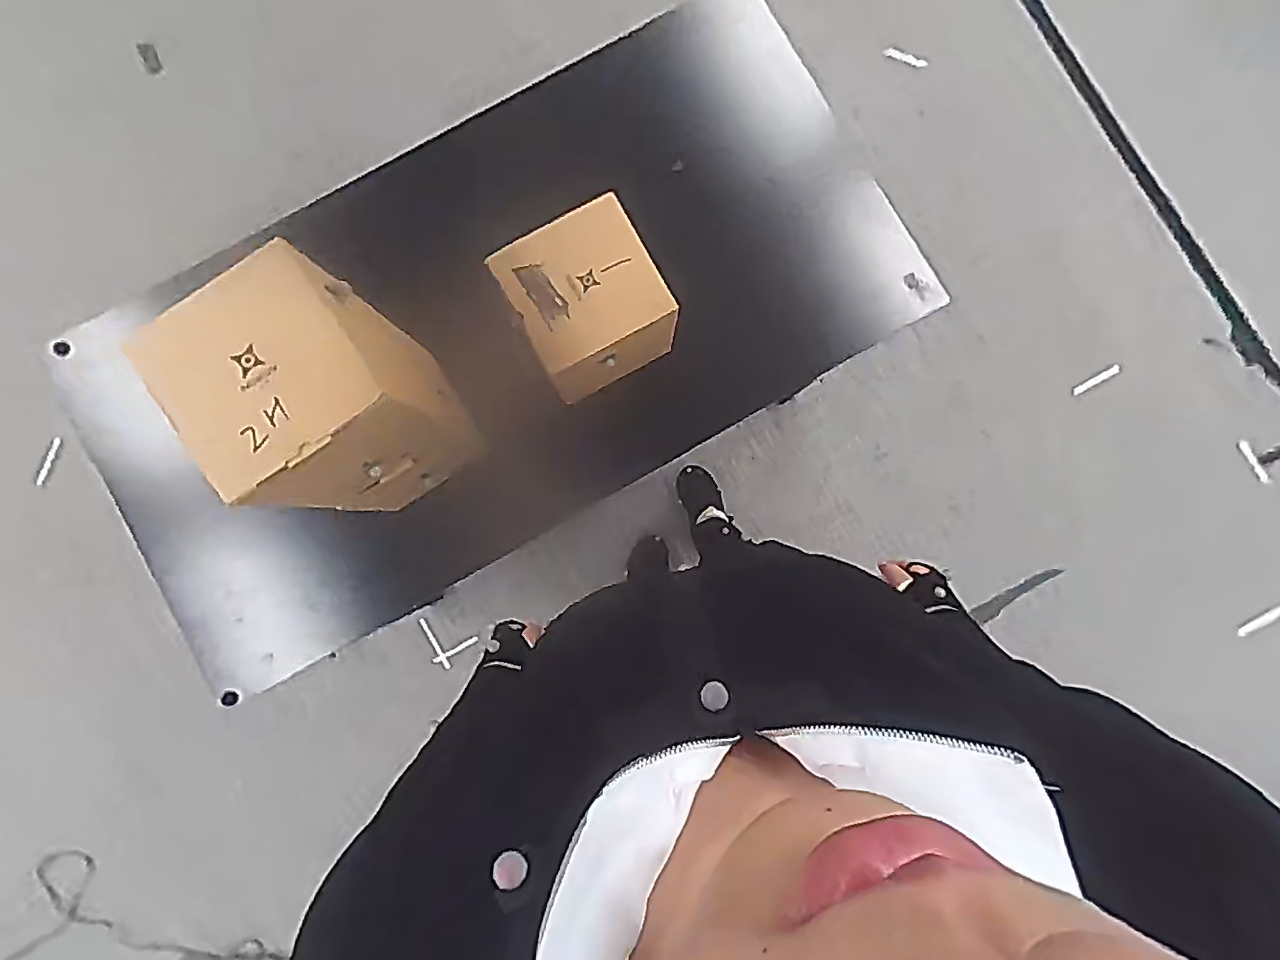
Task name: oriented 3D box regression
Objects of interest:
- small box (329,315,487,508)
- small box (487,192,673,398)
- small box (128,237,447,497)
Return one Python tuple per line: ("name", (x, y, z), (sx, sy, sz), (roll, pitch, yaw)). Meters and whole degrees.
("small box", (-0.330, -0.080, 0.713), (0.168, 0.176, 0.179), (-34, 87, -2))
("small box", (-0.071, -0.230, 0.722), (0.179, 0.176, 0.168), (-29, 87, -2))
("small box", (-0.332, -0.095, 0.548), (0.168, 0.176, 0.179), (-35, 87, -2))
